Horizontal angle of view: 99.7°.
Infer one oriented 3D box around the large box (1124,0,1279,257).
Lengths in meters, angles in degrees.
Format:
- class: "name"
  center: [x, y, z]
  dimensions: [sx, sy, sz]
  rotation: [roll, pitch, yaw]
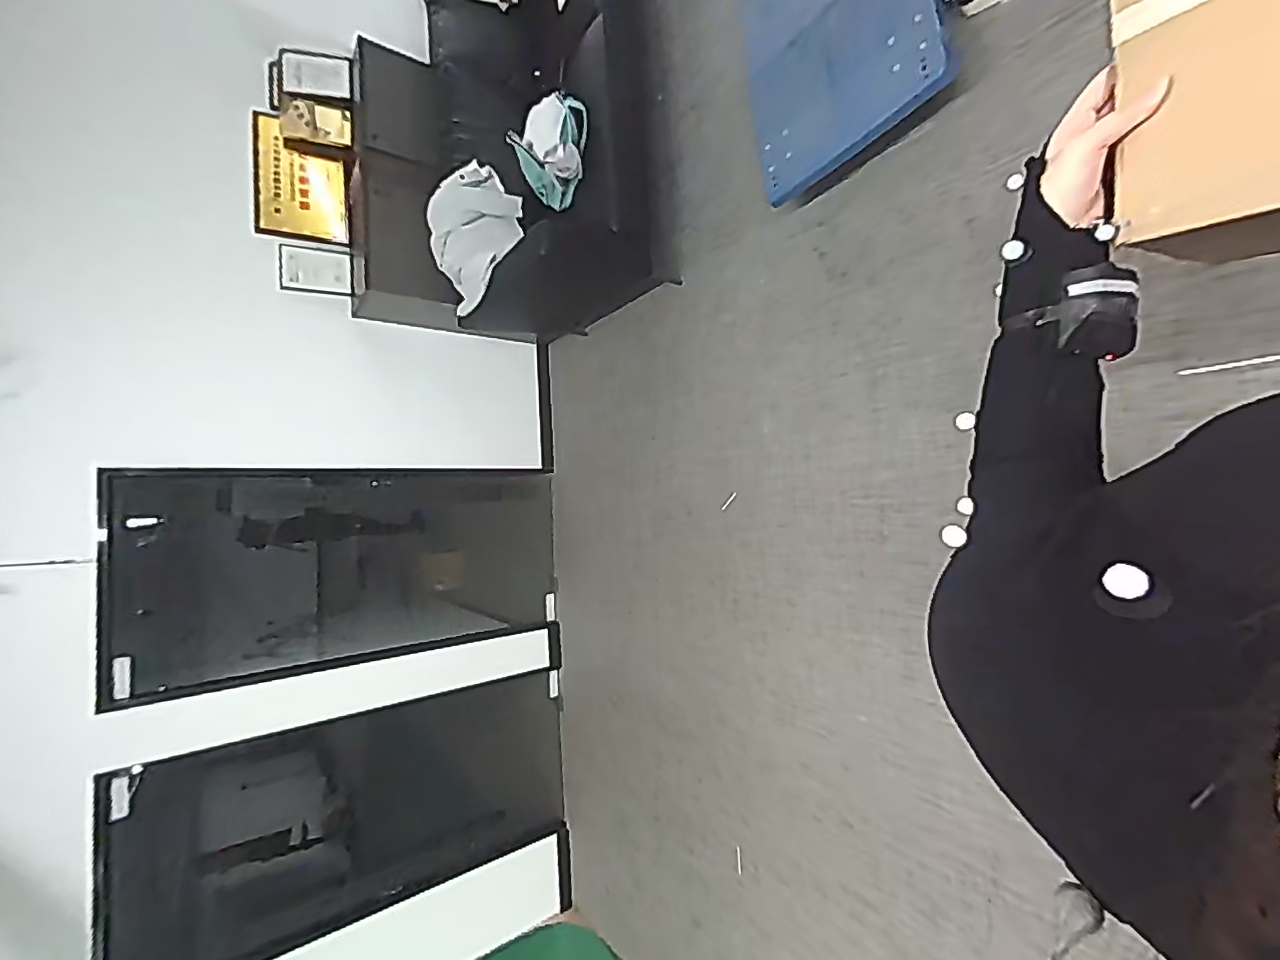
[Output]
- class: "large box"
  center: [0.611, -0.360, 0.334]
  dimensions: [0.408, 0.320, 0.320]
  rotation: [4, 102, 57]
